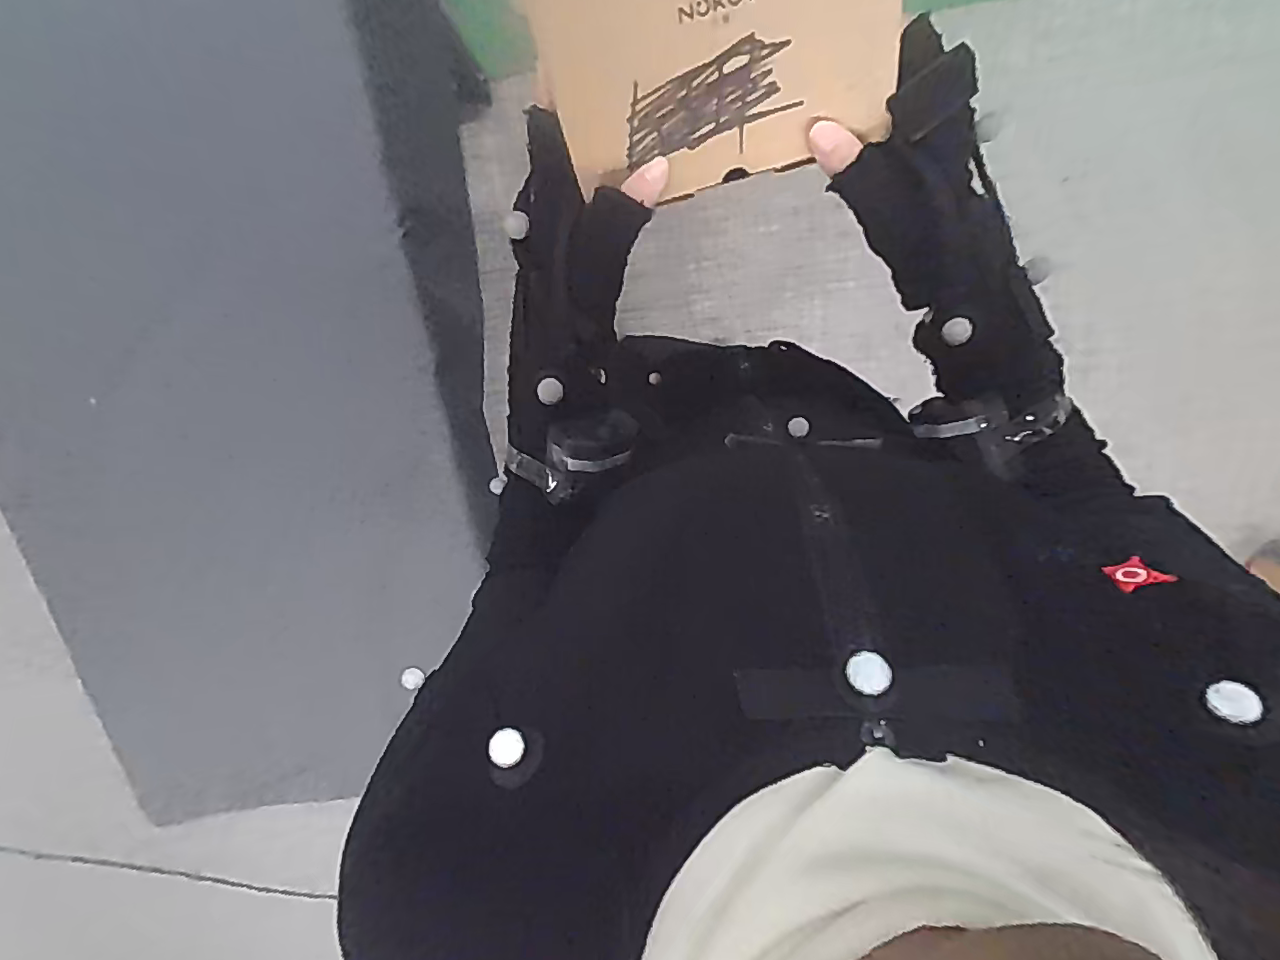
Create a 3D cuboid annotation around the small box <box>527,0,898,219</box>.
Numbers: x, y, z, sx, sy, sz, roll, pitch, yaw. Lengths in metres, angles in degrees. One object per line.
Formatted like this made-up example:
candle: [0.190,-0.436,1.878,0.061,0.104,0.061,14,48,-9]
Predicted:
small box: [0.029,-0.283,0.295,0.168,0.176,0.179,-13,136,11]
